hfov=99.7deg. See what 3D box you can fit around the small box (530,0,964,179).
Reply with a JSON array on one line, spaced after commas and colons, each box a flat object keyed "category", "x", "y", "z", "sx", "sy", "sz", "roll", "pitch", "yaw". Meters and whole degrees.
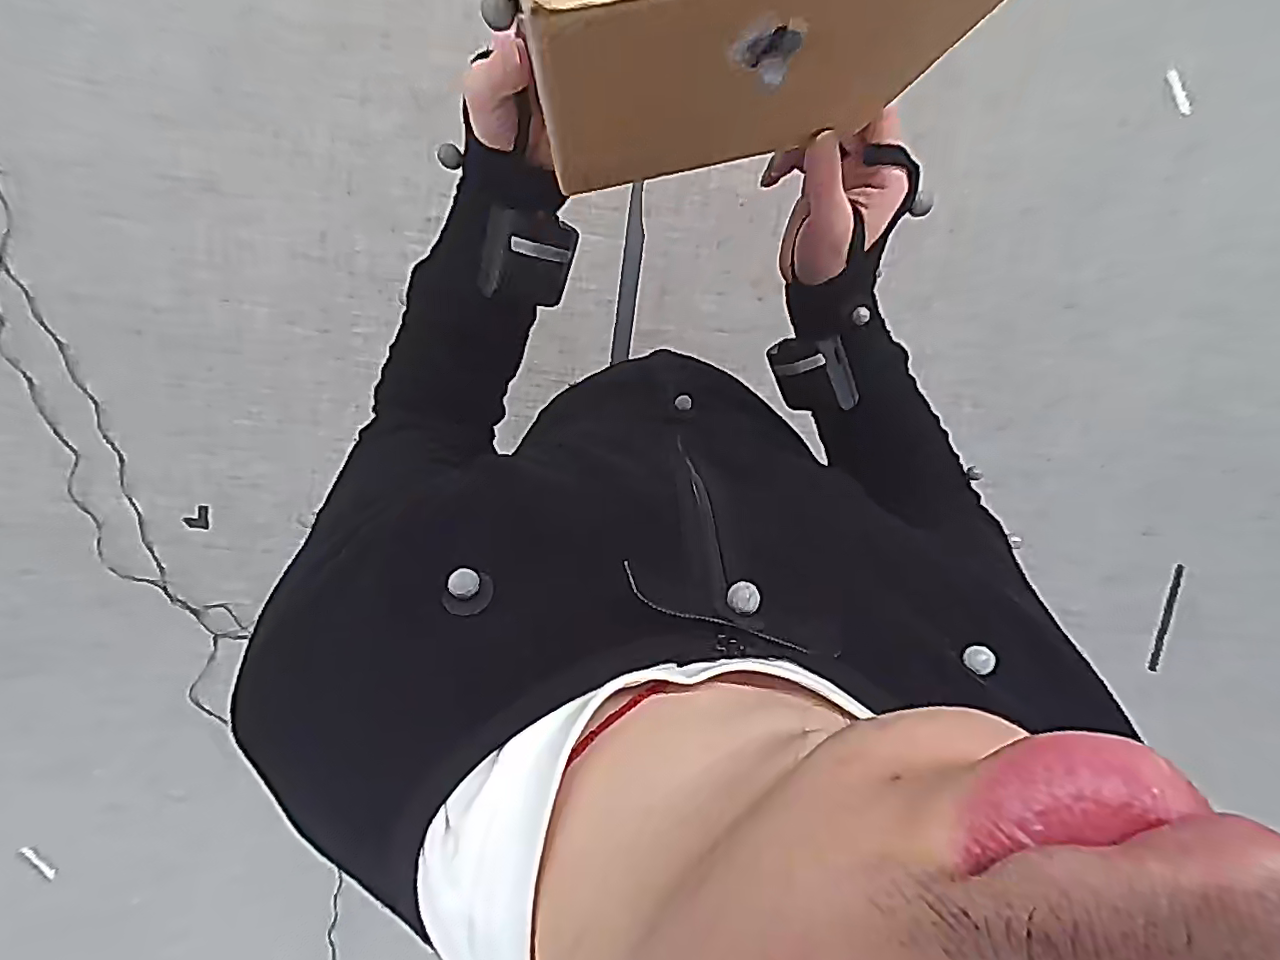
[{"category": "small box", "x": 0.034, "y": -0.250, "z": 0.224, "sx": 0.179, "sy": 0.176, "sz": 0.168, "roll": -14, "pitch": 103, "yaw": -3}]
